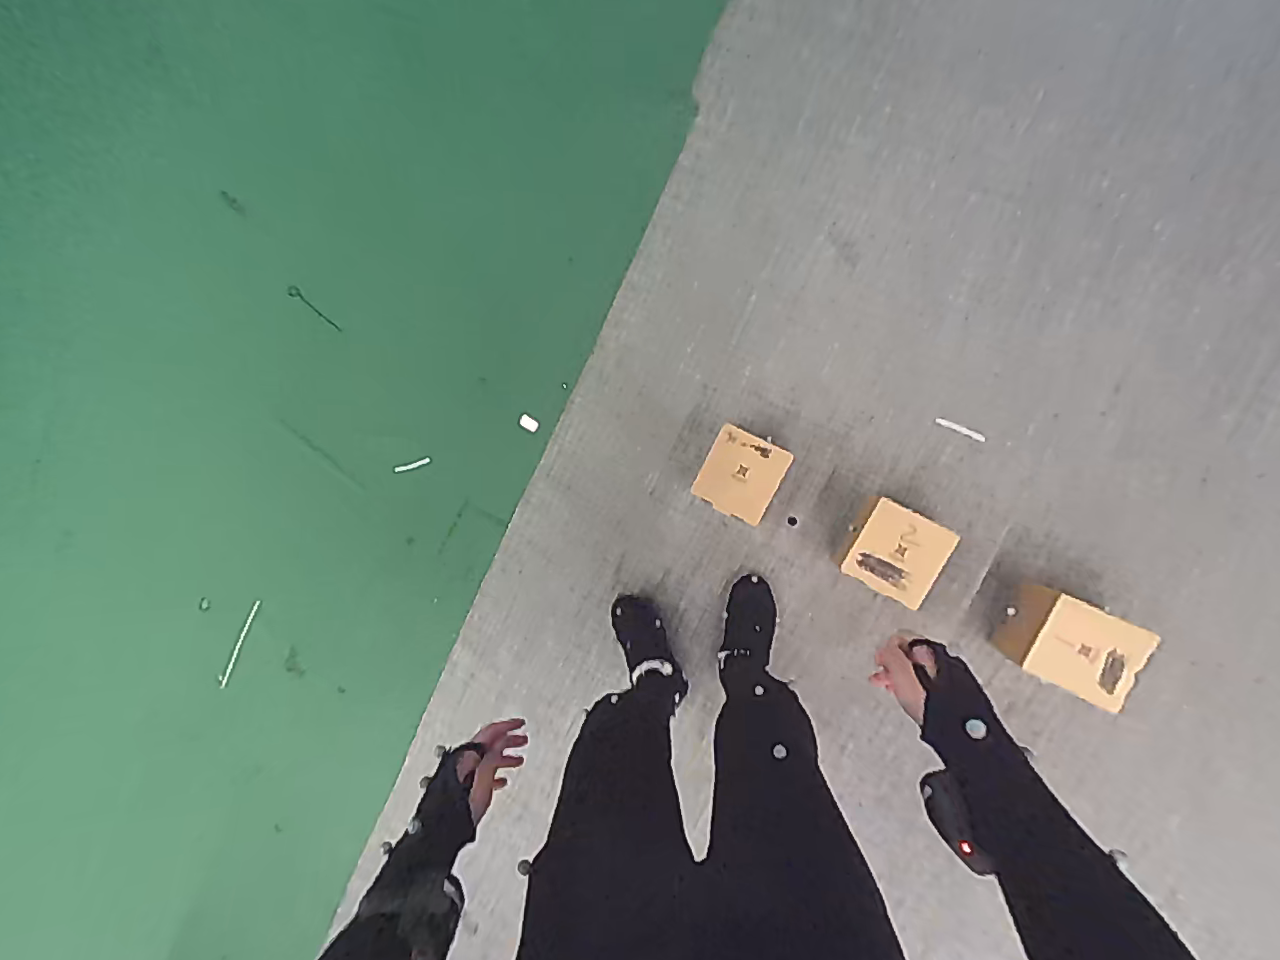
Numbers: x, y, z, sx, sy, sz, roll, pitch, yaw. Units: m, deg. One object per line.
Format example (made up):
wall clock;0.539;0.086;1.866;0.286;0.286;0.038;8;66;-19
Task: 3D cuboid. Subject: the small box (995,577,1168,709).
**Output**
small box;0.852;0.307;1.066;0.179;0.176;0.168;26;96;13

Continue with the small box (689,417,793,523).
small box;0.234;-0.022;1.223;0.168;0.176;0.179;28;97;12
